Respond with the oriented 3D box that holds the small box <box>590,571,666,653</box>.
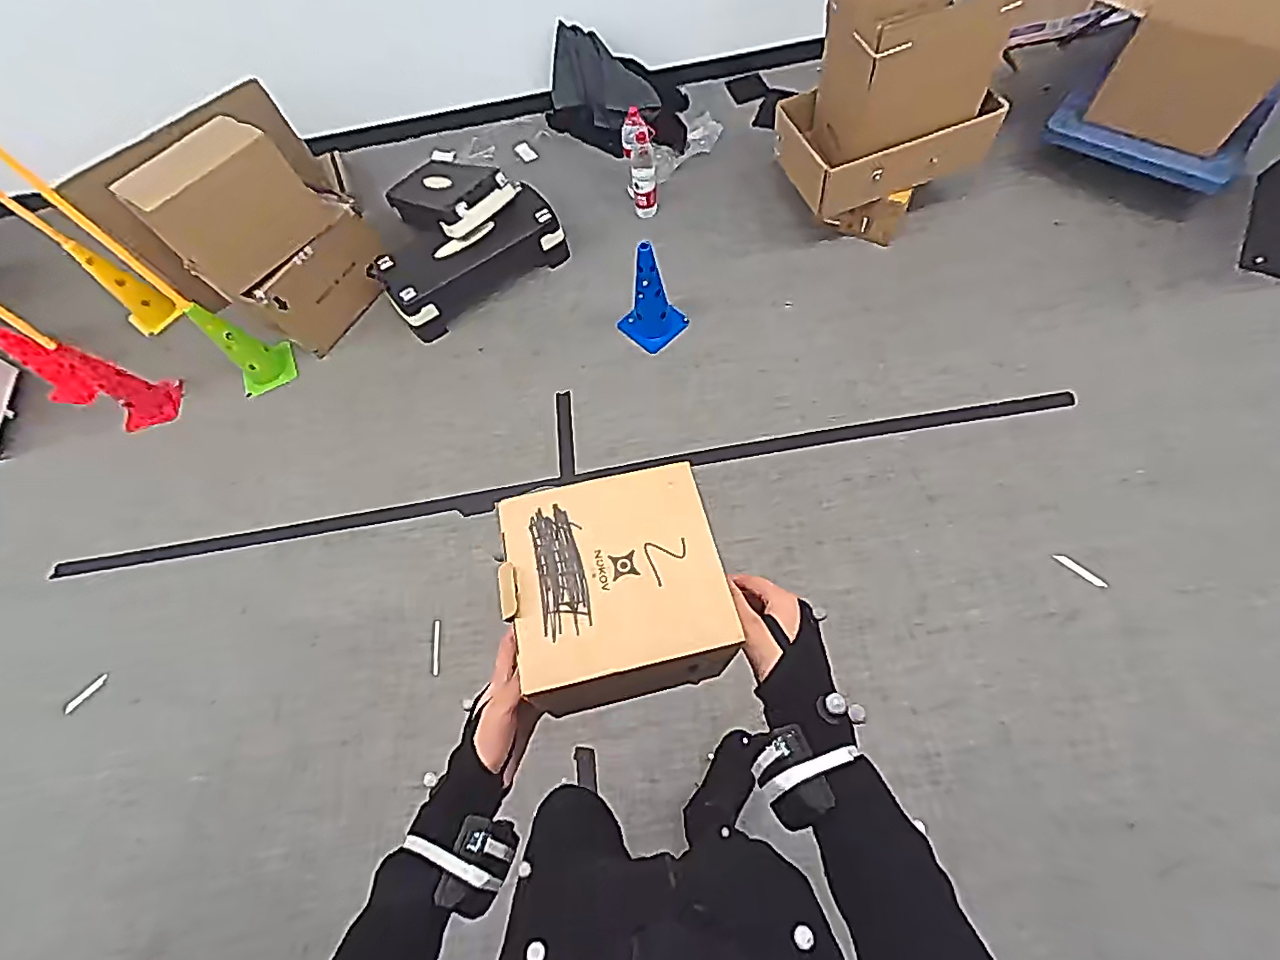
[{"bbox_3d":[-0.028,0.364,1.462,0.168,0.176,0.179,-12,66,1],"label":"small box"}]
